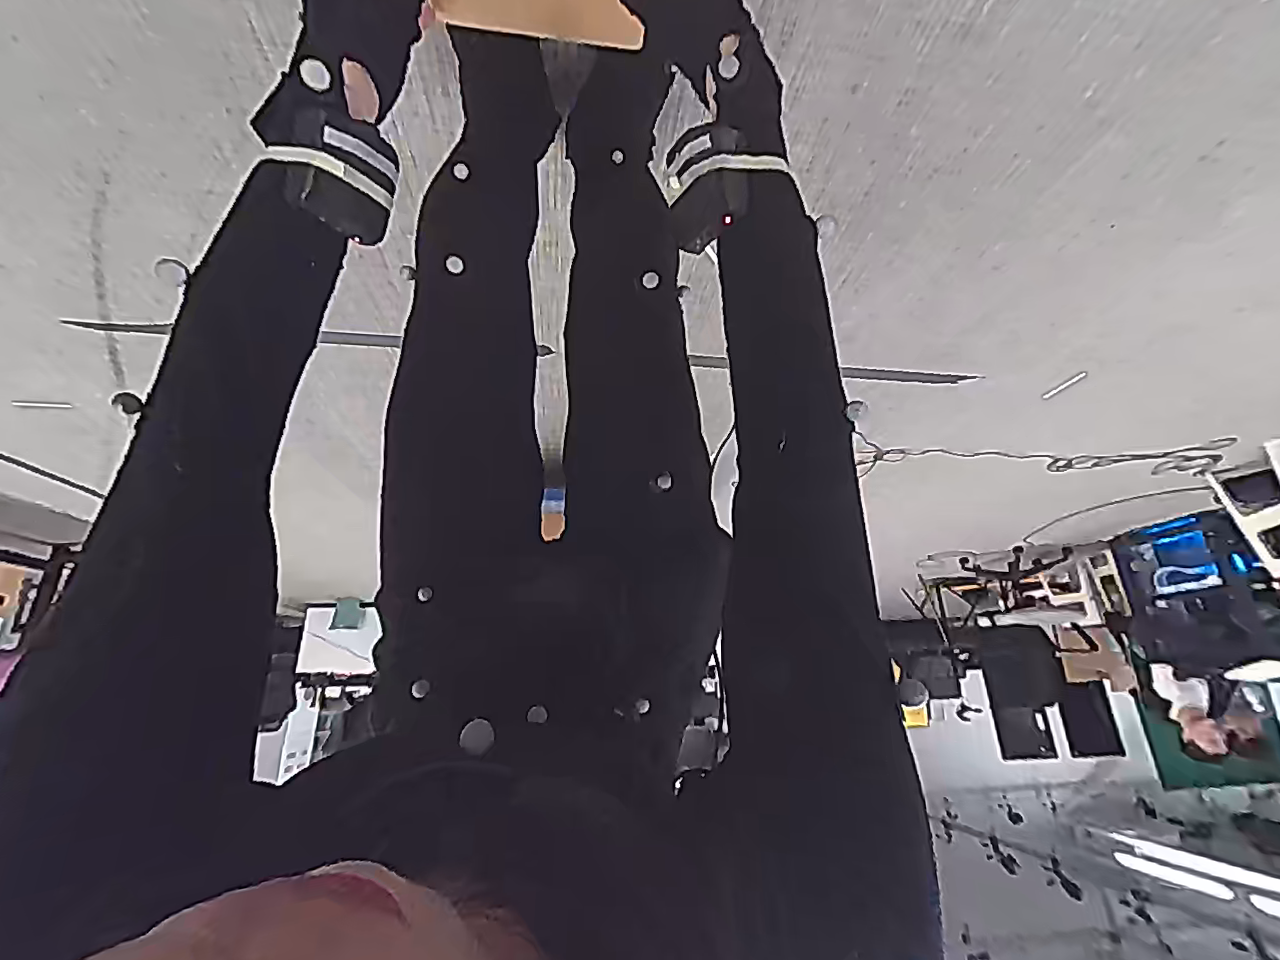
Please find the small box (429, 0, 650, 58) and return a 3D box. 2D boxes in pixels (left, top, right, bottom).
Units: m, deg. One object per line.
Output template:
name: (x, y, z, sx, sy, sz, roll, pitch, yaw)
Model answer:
small box: (-0.076, -0.474, 0.413, 0.179, 0.176, 0.168, 1, 158, -9)
